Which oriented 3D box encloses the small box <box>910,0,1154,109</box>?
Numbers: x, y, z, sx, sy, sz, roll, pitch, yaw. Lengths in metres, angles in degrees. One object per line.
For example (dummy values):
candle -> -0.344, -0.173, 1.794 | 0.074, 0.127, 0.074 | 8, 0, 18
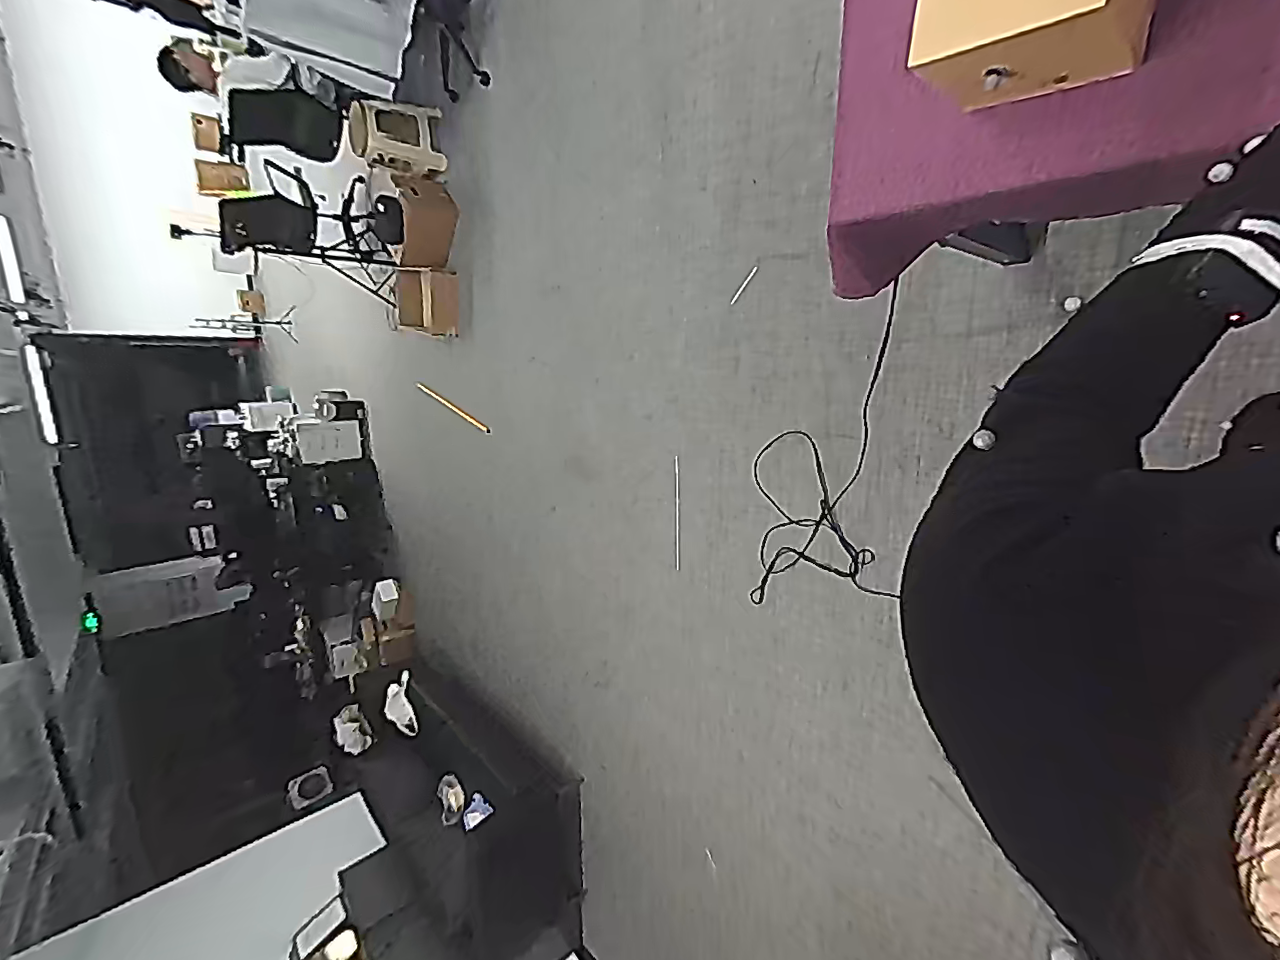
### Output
small box -> 0.404, -0.505, 0.544 | 0.168, 0.176, 0.179 | 20, 111, 46
